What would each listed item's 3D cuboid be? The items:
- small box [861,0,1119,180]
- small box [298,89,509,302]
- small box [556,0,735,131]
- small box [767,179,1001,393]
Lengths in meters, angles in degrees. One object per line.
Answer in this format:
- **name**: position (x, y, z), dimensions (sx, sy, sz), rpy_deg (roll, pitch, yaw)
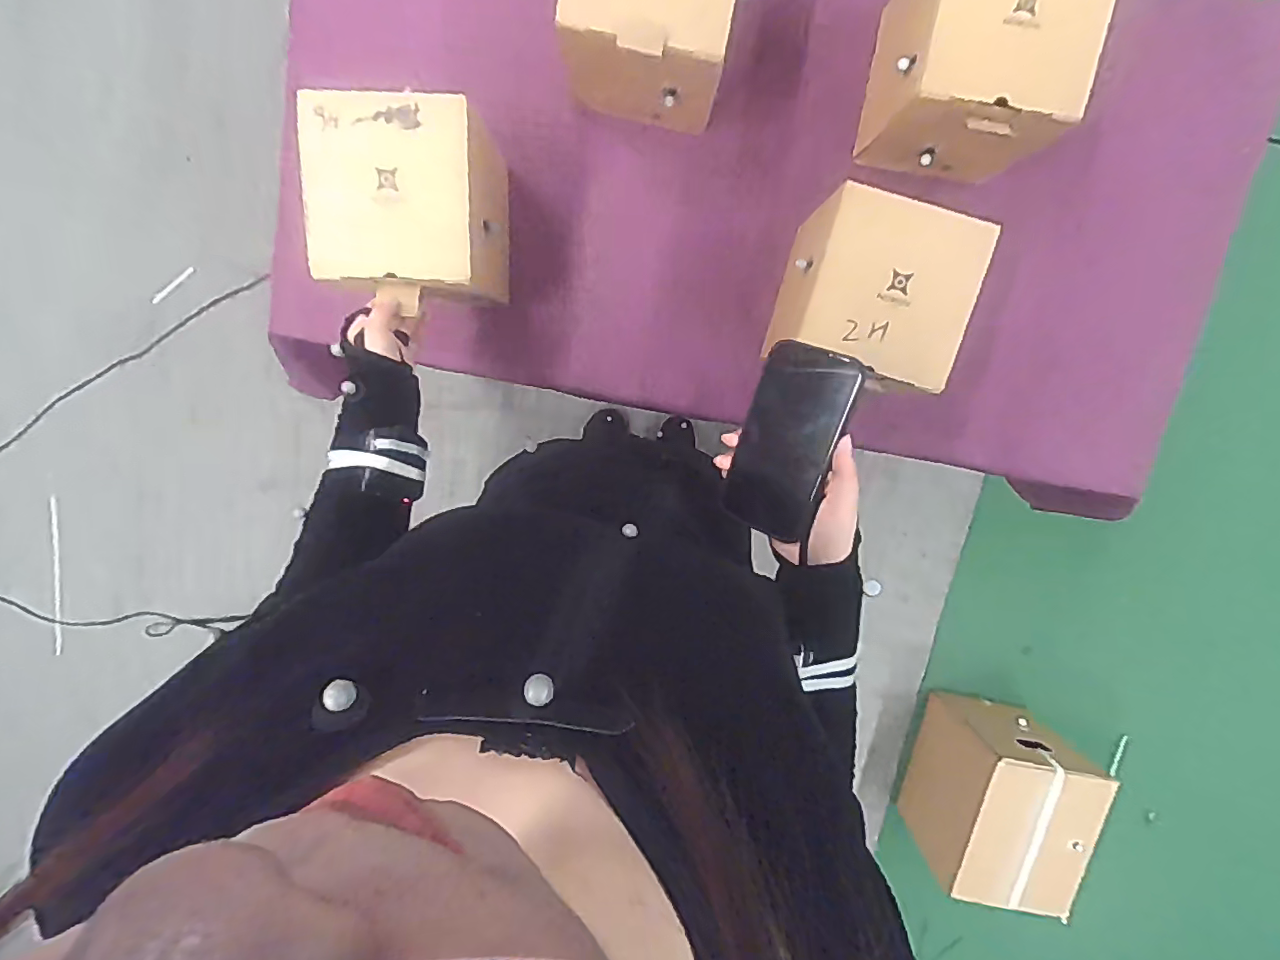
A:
- **small box**: position (0.362, -0.458, 0.584), dimensions (0.168, 0.176, 0.179), rpy_deg (8, 101, -1)
- **small box**: position (-0.249, -0.303, 0.612), dimensions (0.168, 0.176, 0.179), rpy_deg (1, 100, -1)
- **small box**: position (0.016, -0.510, 0.575), dimensions (0.168, 0.176, 0.179), rpy_deg (10, 100, -3)
- **small box**: position (0.261, -0.208, 0.628), dimensions (0.168, 0.176, 0.179), rpy_deg (15, 100, -2)
